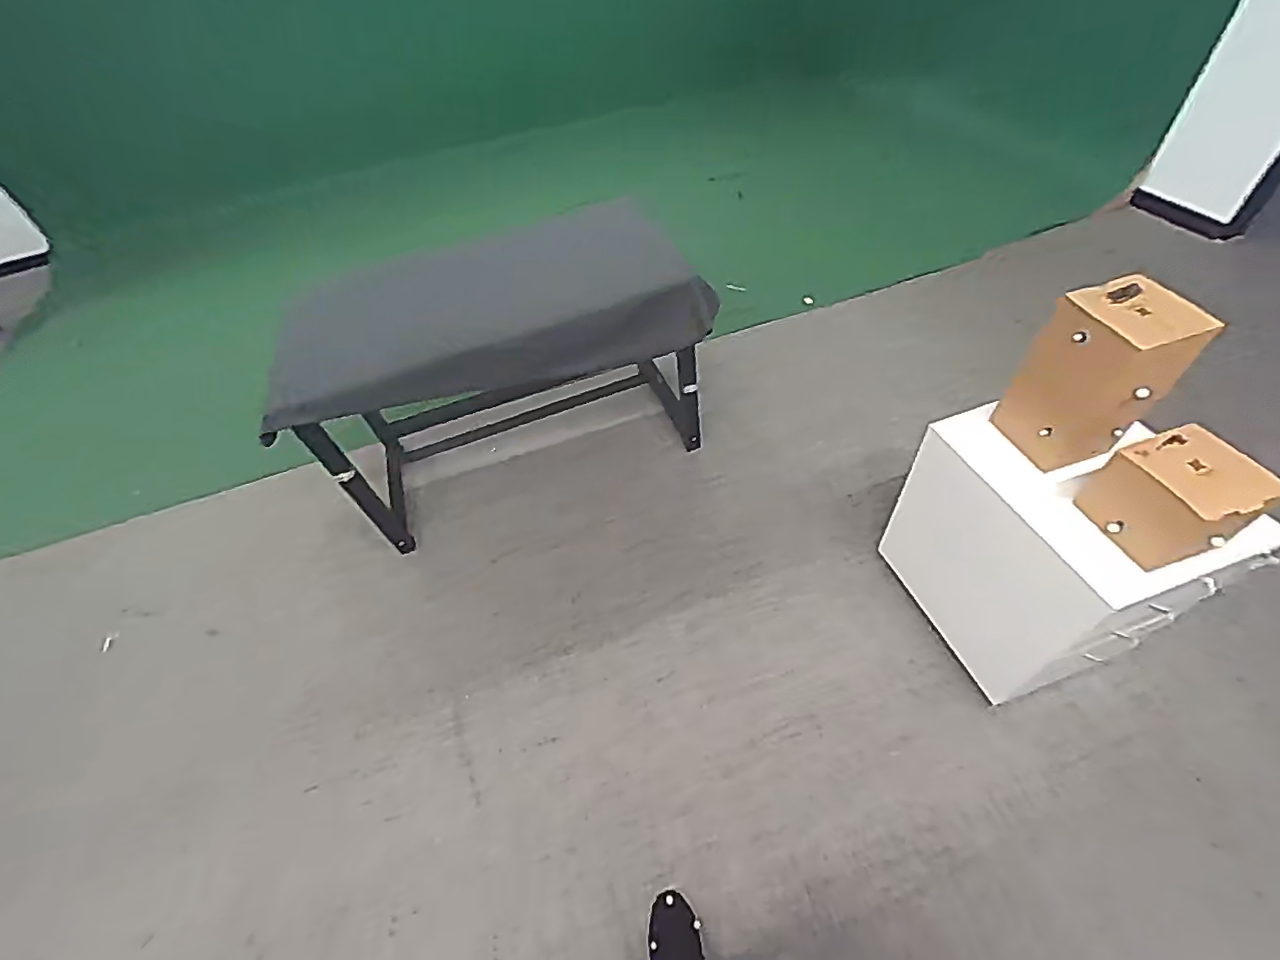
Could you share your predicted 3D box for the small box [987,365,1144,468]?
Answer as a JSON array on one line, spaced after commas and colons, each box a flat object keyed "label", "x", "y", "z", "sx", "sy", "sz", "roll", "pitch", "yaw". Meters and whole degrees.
[{"label": "small box", "x": 0.892, "y": -0.144, "z": 1.148, "sx": 0.168, "sy": 0.176, "sz": 0.179, "roll": -16, "pitch": 51, "yaw": -8}]

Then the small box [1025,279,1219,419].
[{"label": "small box", "x": 0.884, "y": -0.245, "z": 1.017, "sx": 0.168, "sy": 0.176, "sz": 0.179, "roll": -16, "pitch": 53, "yaw": -7}]

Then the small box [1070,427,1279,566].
[{"label": "small box", "x": 0.959, "y": 0.038, "z": 0.991, "sx": 0.168, "sy": 0.176, "sz": 0.179, "roll": -17, "pitch": 52, "yaw": -6}]
